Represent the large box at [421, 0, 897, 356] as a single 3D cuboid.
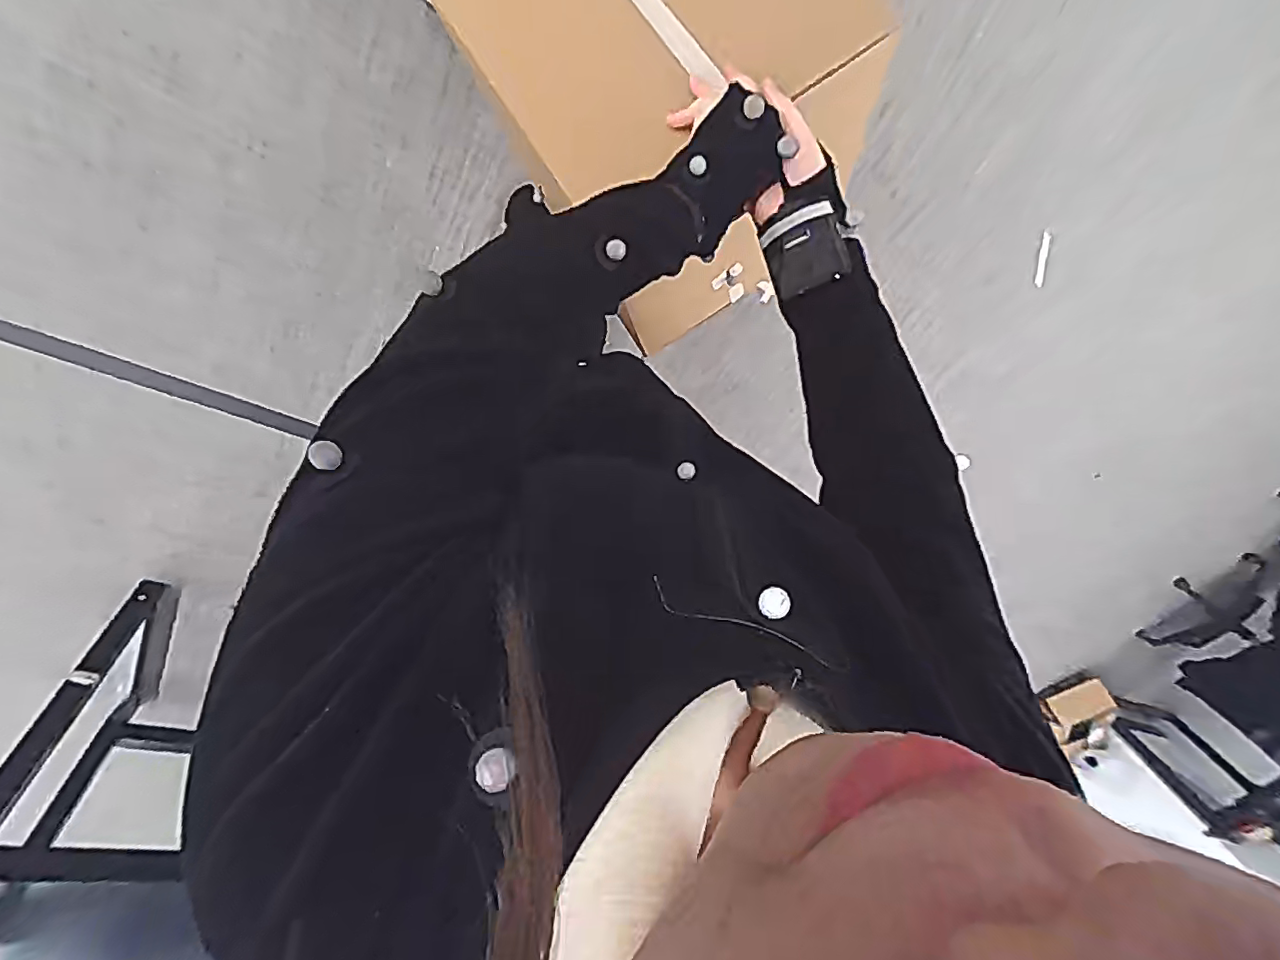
[{"bbox_3d":[0.012,-0.432,0.646,0.320,0.408,0.320,-33,168,2],"label":"large box"}]
